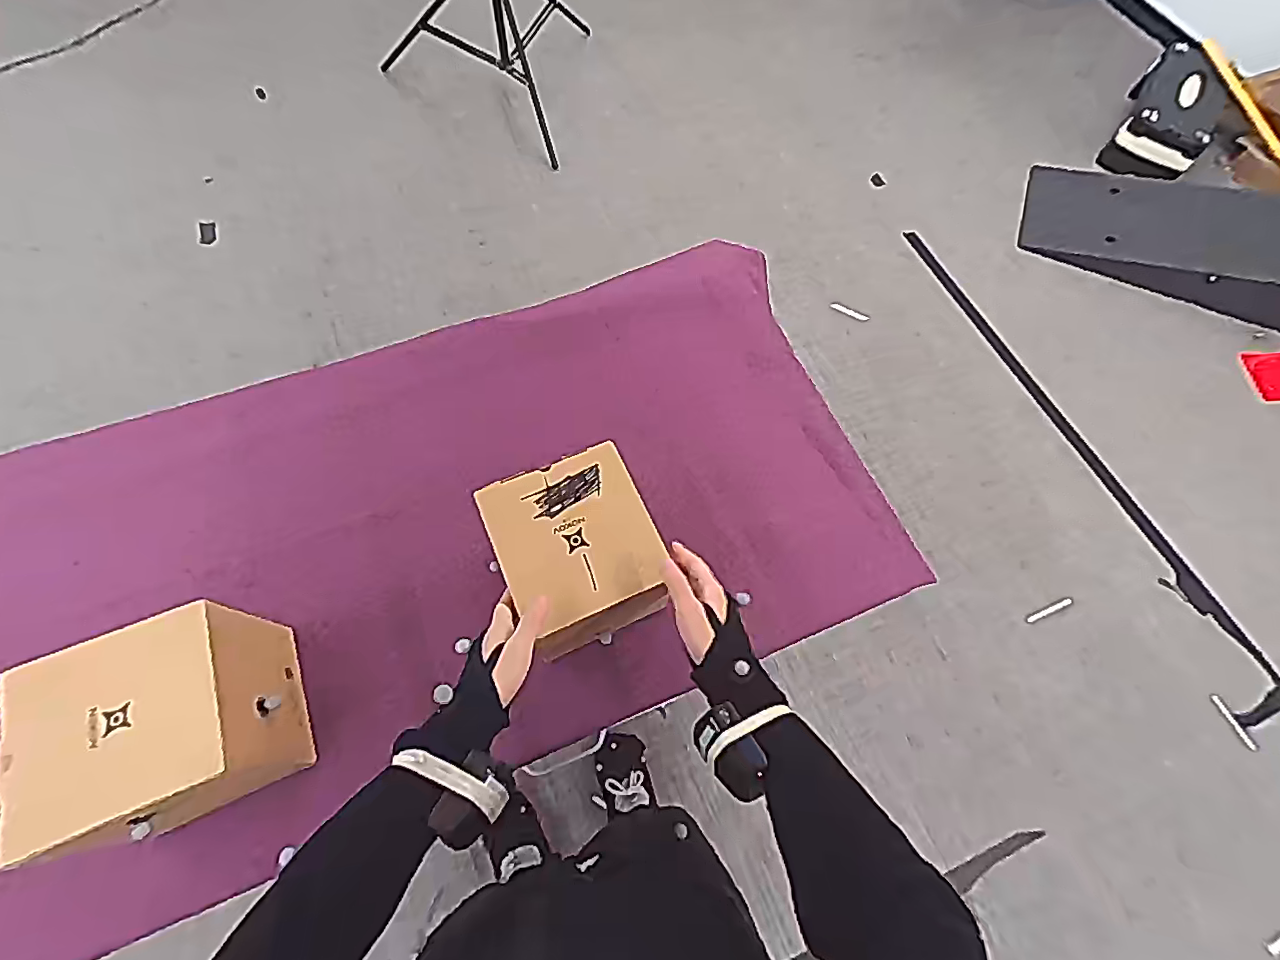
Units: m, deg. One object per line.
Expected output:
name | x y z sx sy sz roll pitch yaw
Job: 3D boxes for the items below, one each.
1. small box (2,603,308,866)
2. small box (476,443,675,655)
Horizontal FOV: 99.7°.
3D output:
small box | -0.473 0.247 0.556 0.179 0.176 0.168 -22 69 -12
small box | -0.077 0.089 0.646 0.168 0.176 0.179 -22 70 -12
